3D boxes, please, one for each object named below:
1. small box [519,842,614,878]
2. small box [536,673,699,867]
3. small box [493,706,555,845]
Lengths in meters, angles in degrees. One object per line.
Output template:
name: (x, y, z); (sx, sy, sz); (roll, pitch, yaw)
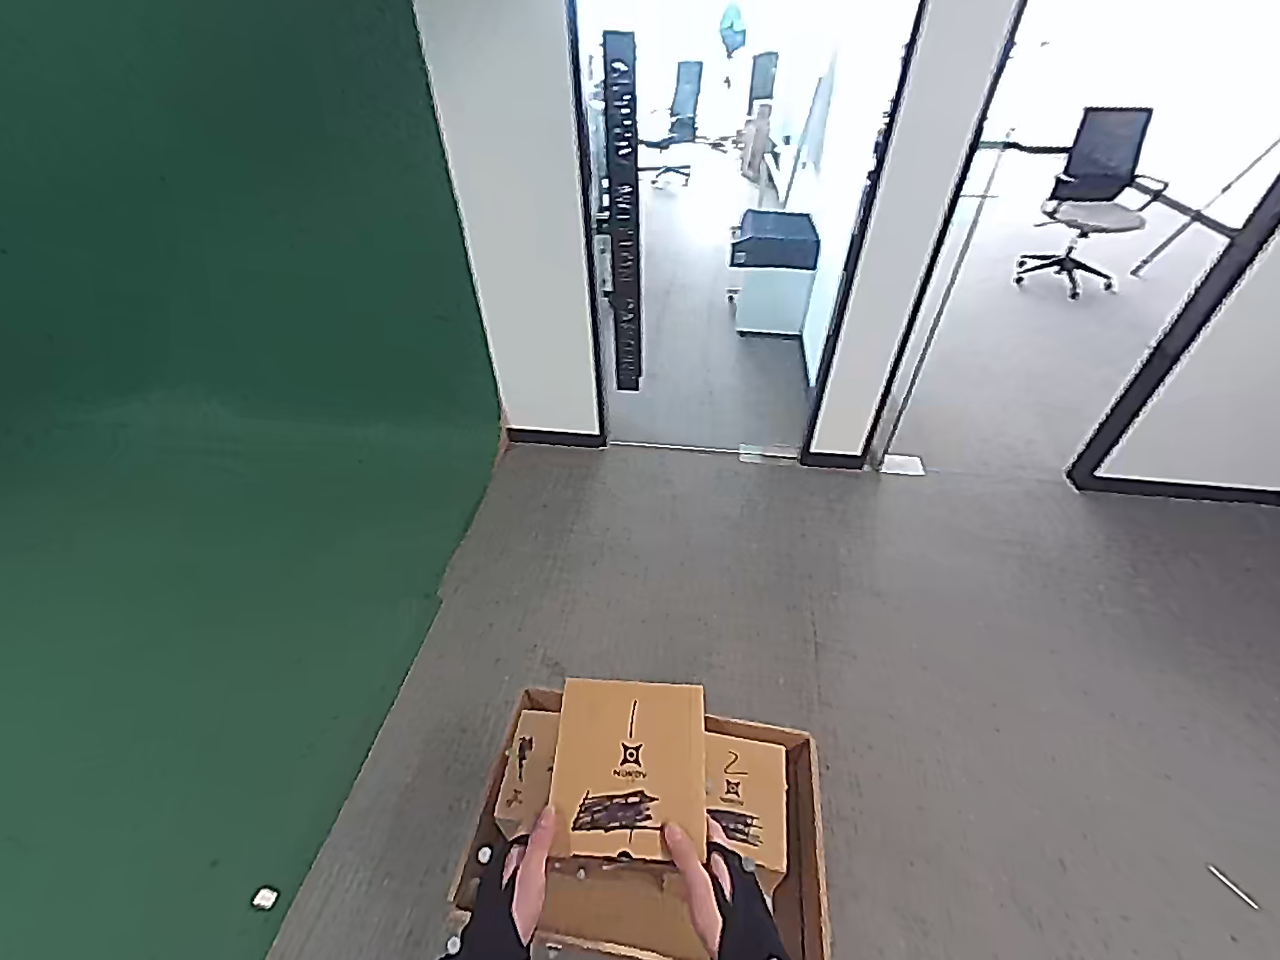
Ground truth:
small box: (-0.125, 0.628, 1.025); (0.179, 0.176, 0.168); (7, 43, 5)
small box: (-0.019, 0.350, 0.645); (0.168, 0.176, 0.179); (3, 51, 0)
small box: (-0.125, 0.508, 0.912); (0.179, 0.176, 0.168); (5, 43, 5)
